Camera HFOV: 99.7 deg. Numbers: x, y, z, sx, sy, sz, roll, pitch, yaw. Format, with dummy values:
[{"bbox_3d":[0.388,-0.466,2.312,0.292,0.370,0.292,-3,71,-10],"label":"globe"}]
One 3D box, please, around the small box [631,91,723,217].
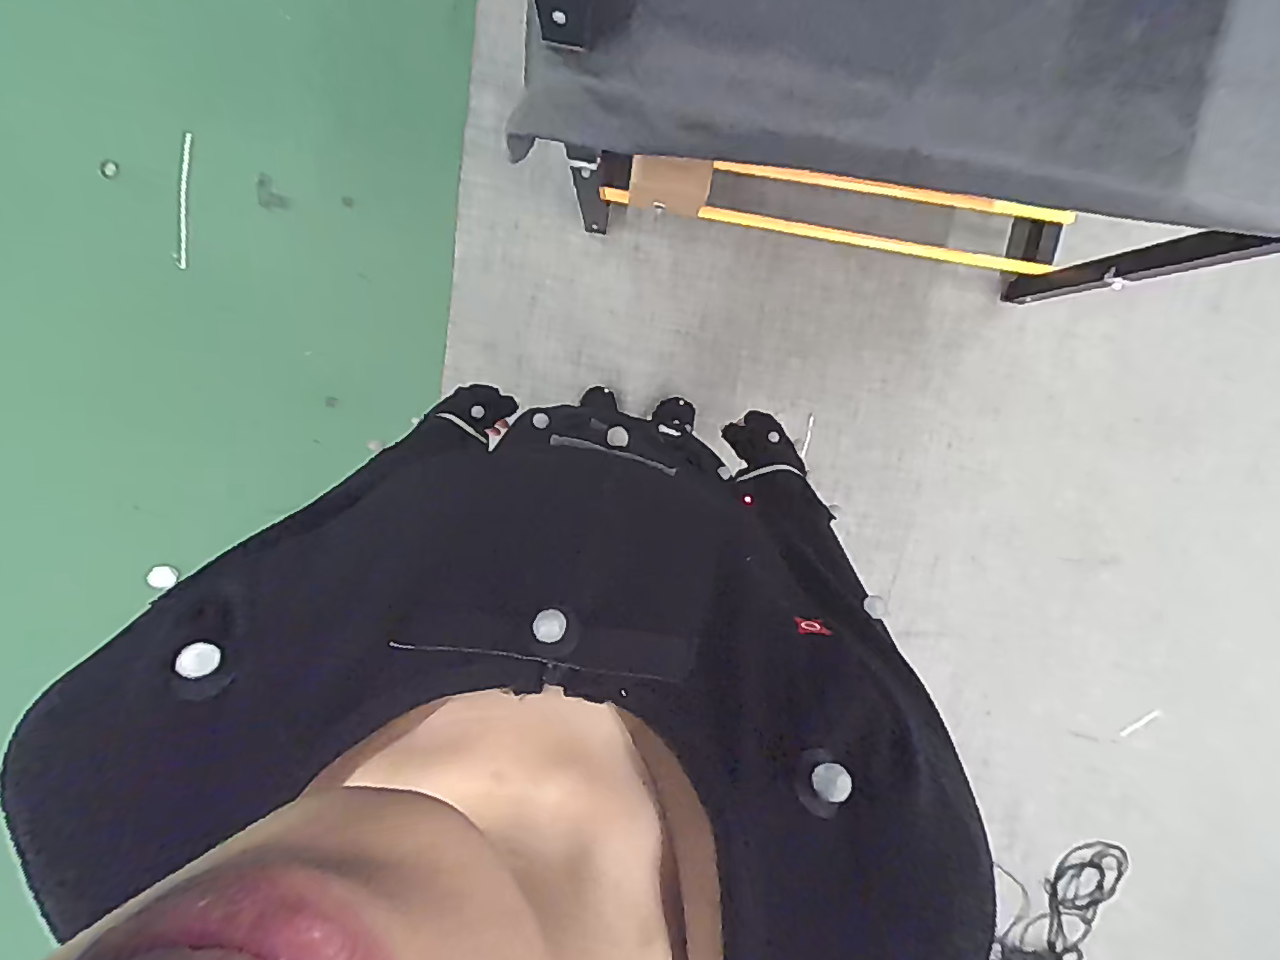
[{"bbox_3d":[0.072,-0.698,1.177,0.168,0.176,0.179,7,101,-4],"label":"small box"}]
